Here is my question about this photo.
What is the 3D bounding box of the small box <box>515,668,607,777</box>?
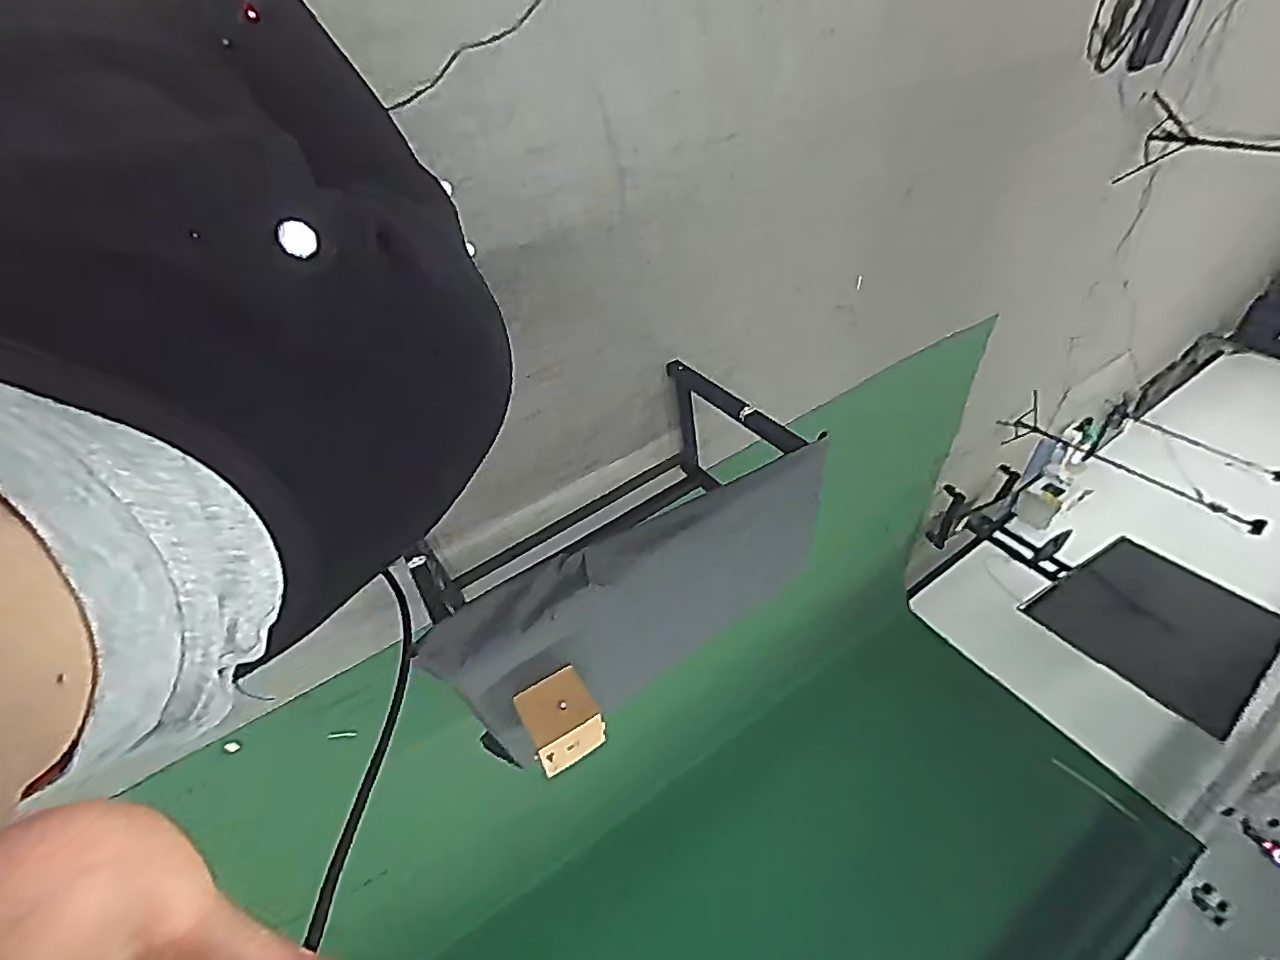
[{"bbox_3d":[-0.211,0.643,1.451,0.179,0.176,0.168,-25,134,-24],"label":"small box"}]
